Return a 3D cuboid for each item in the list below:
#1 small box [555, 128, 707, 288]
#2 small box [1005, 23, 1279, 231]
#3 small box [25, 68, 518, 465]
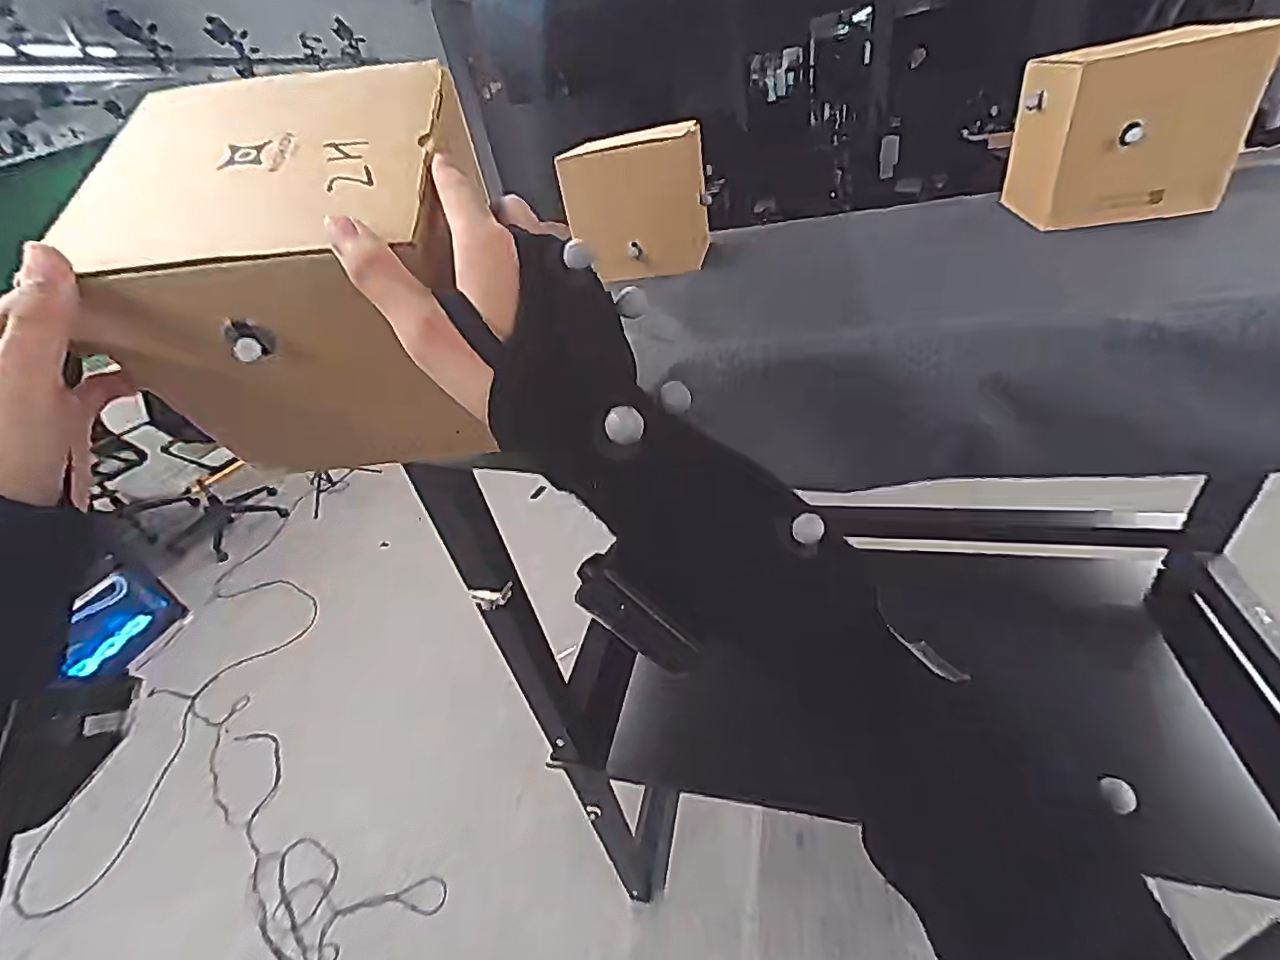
[{"bbox_3d":[0.000,-0.393,0.788,0.179,0.176,0.168,-1,36,15],"label":"small box"},{"bbox_3d":[0.555,-0.401,0.631,0.168,0.176,0.179,-1,36,17],"label":"small box"},{"bbox_3d":[-0.187,-0.122,0.345,0.179,0.176,0.168,-6,60,-1],"label":"small box"}]
